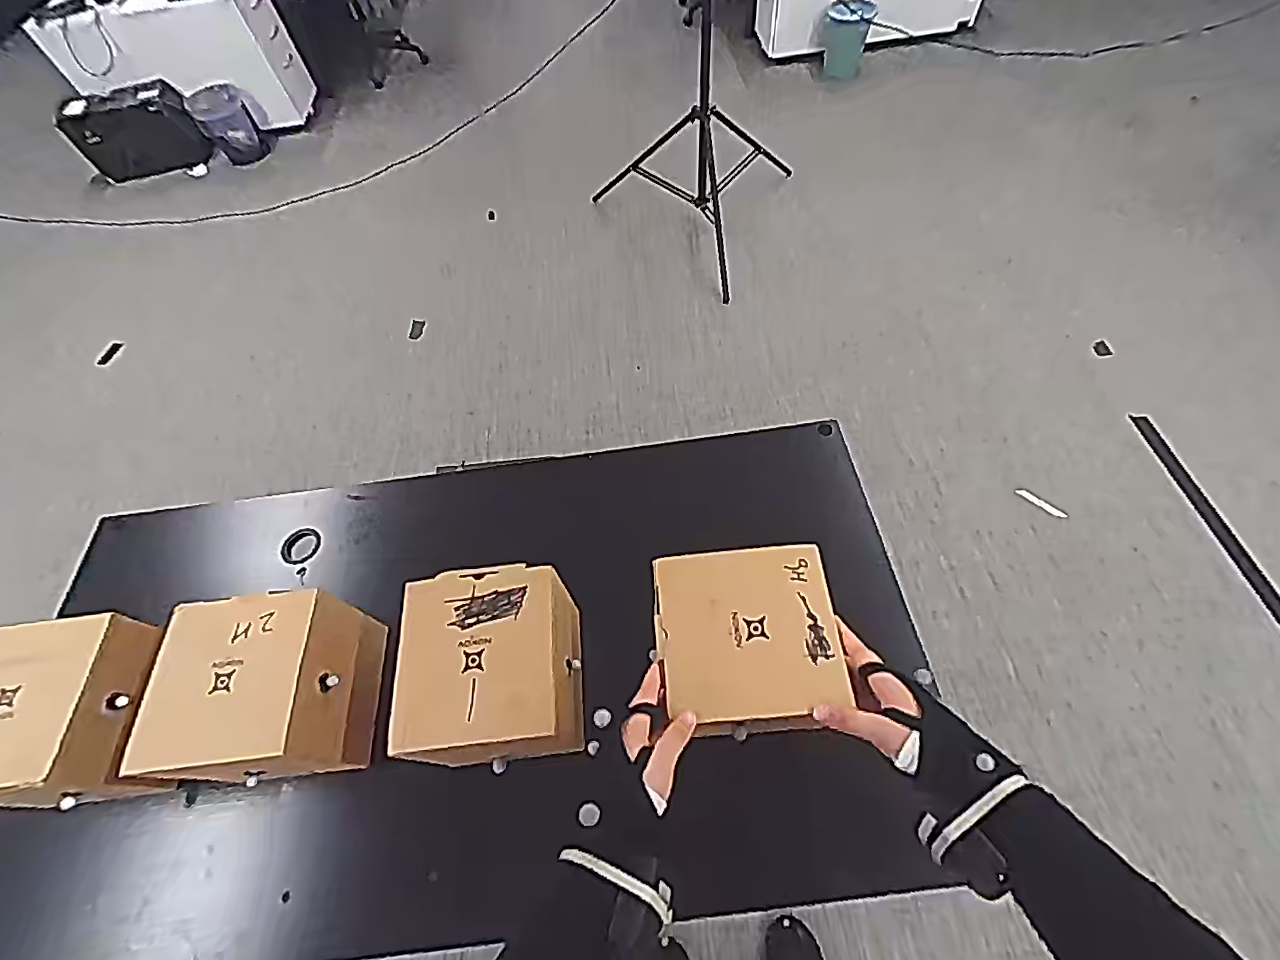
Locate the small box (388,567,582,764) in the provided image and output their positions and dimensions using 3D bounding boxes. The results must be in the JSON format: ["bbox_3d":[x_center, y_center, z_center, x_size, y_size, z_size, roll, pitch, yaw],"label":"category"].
[{"bbox_3d":[-0.163,0.220,0.628,0.168,0.176,0.179,-7,59,1],"label":"small box"}]

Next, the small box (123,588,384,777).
[{"bbox_3d":[-0.427,0.245,0.637,0.168,0.176,0.179,-7,58,0],"label":"small box"}]

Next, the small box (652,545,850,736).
[{"bbox_3d":[0.111,0.186,0.604,0.179,0.176,0.168,-5,60,3],"label":"small box"}]

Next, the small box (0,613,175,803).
[{"bbox_3d":[-0.664,0.277,0.643,0.168,0.176,0.179,-8,57,0],"label":"small box"}]
